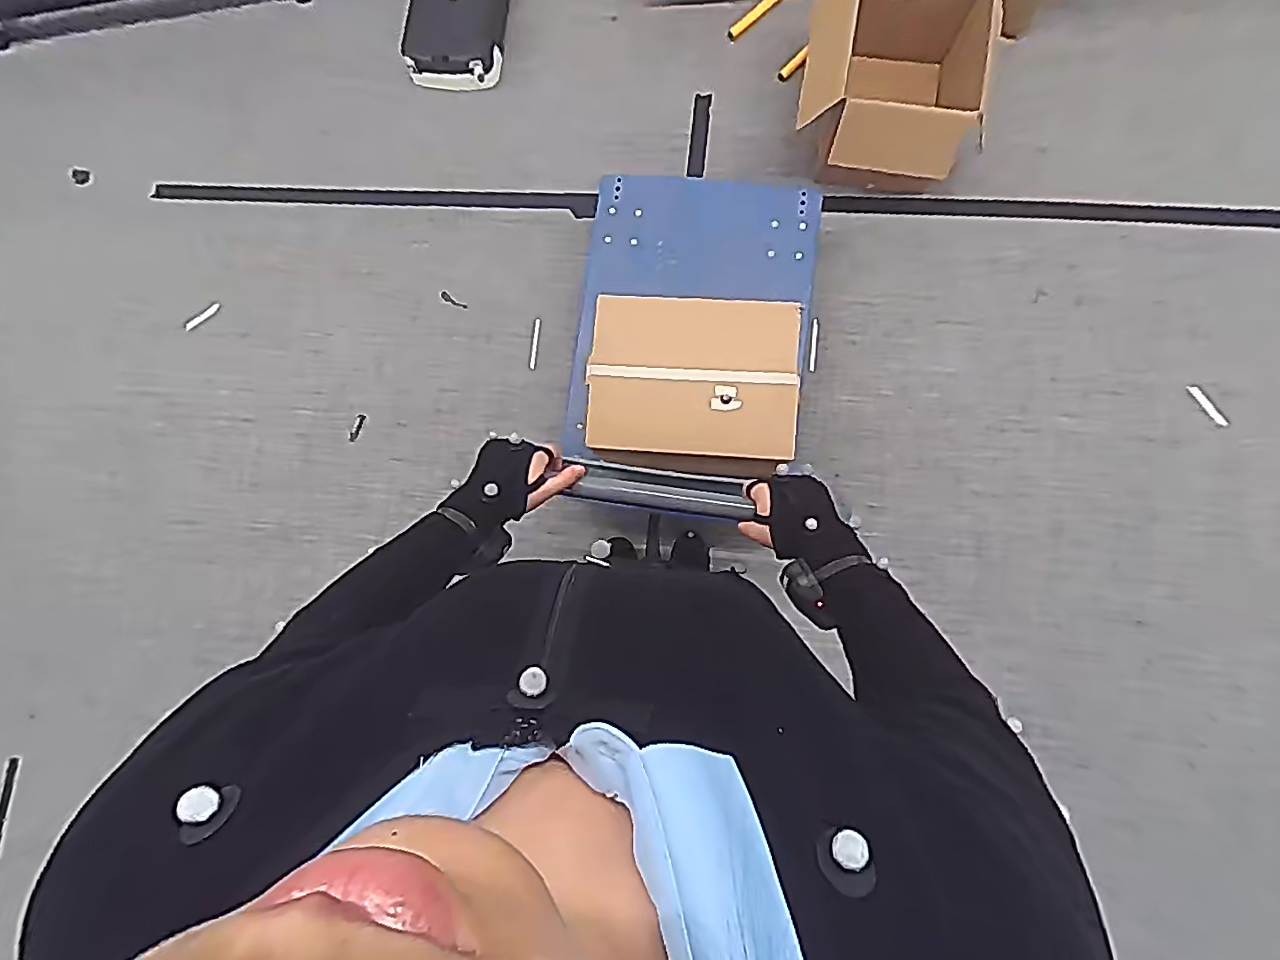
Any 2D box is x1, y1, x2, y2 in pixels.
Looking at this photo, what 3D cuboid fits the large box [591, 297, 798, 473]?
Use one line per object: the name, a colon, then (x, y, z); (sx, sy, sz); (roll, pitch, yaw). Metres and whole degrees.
large box: (0.115, -0.193, 1.214); (0.408, 0.320, 0.320); (4, 85, 4)
